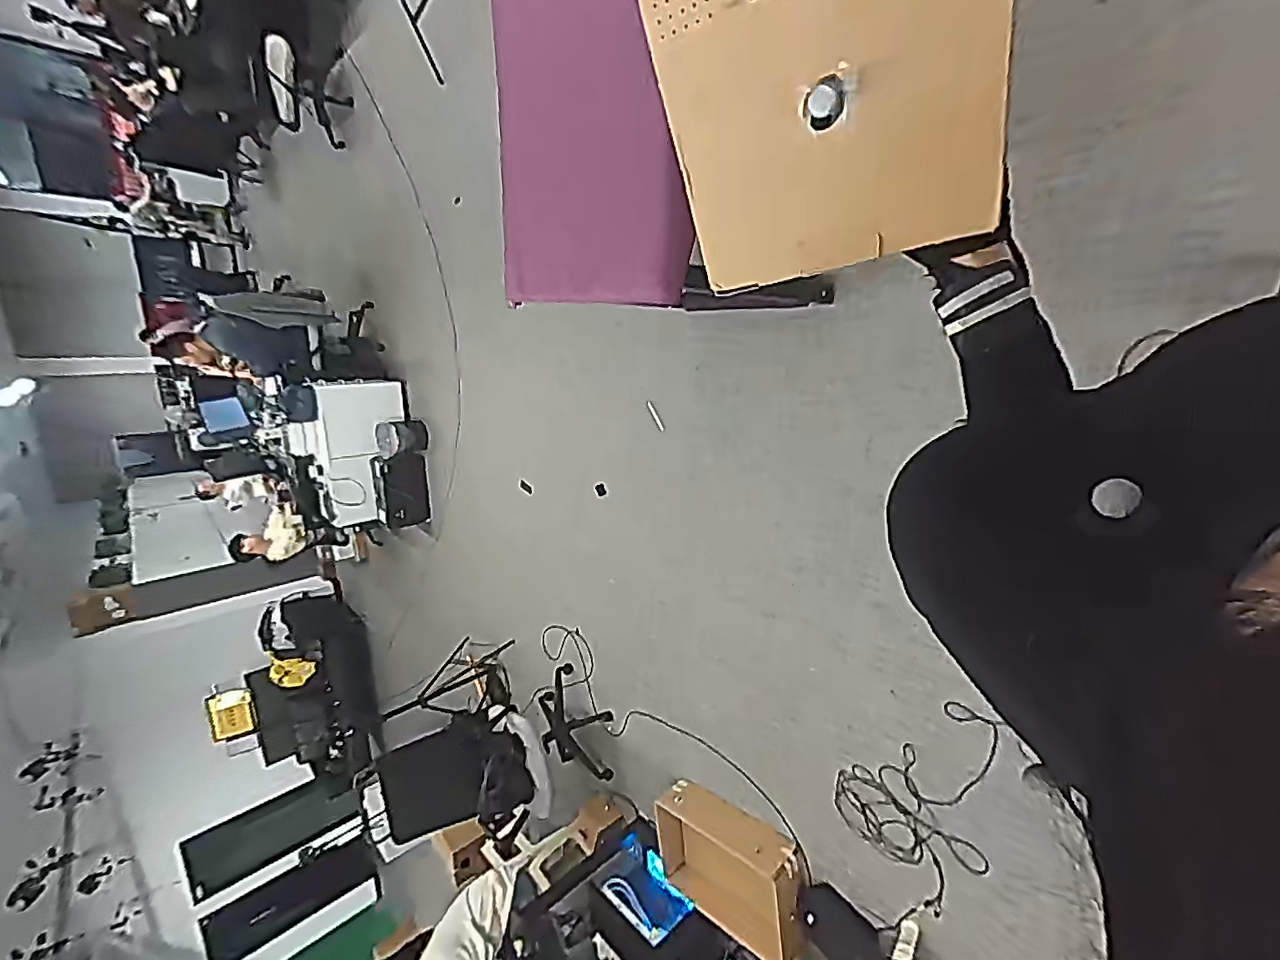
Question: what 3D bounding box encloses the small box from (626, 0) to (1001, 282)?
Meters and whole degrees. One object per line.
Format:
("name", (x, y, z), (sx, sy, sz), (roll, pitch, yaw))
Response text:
("small box", (0.107, -0.251, 0.327), (0.168, 0.179, 0.176), (-5, 129, 25))
